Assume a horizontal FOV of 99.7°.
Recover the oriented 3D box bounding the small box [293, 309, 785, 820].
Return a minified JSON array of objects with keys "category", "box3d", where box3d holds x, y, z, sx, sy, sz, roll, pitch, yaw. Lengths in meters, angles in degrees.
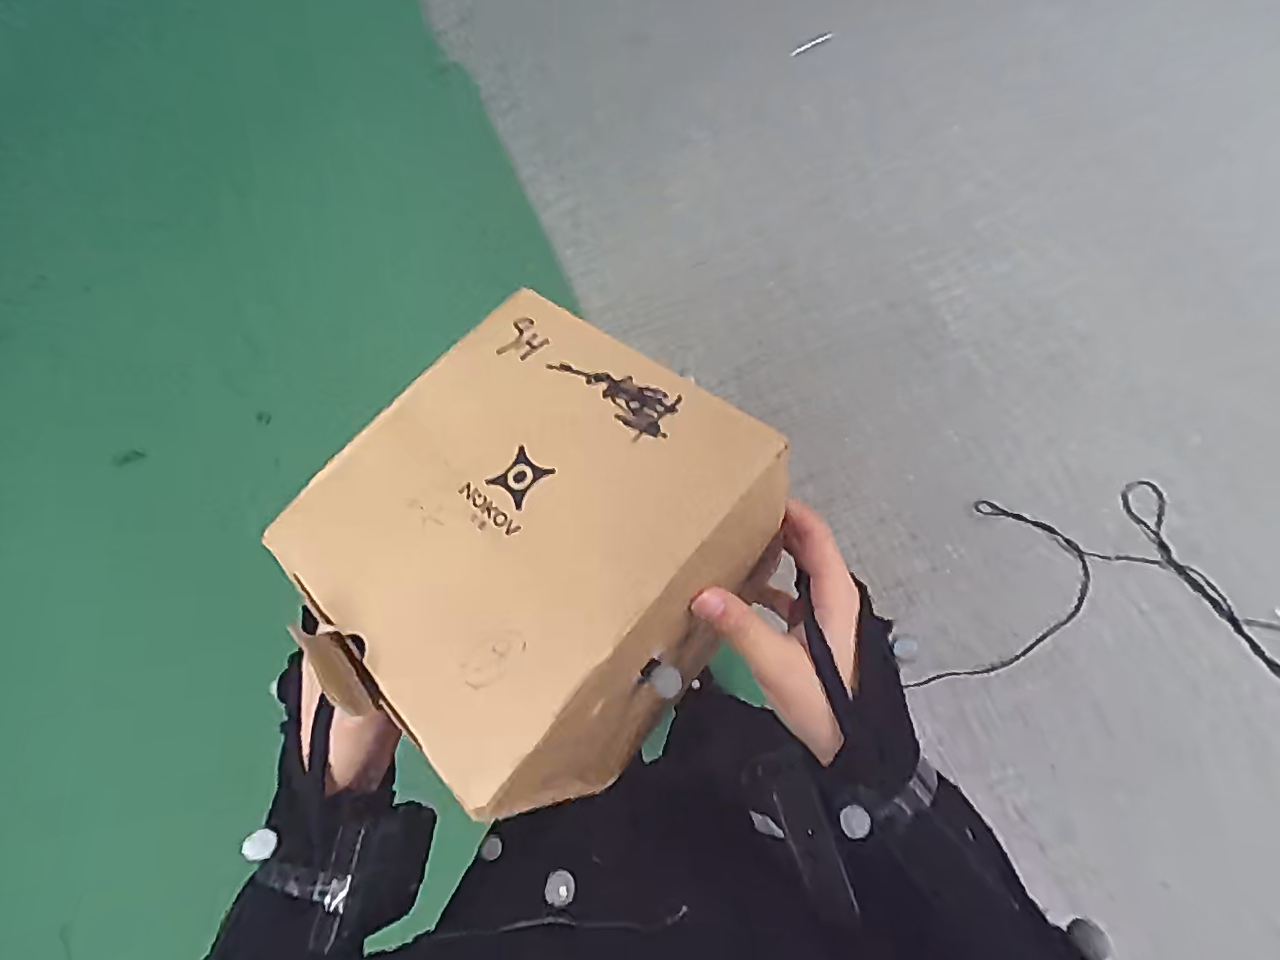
[{"category":"small box","box3d":[-0.034,0.048,0.306,0.168,0.176,0.179,36,77,26]}]
